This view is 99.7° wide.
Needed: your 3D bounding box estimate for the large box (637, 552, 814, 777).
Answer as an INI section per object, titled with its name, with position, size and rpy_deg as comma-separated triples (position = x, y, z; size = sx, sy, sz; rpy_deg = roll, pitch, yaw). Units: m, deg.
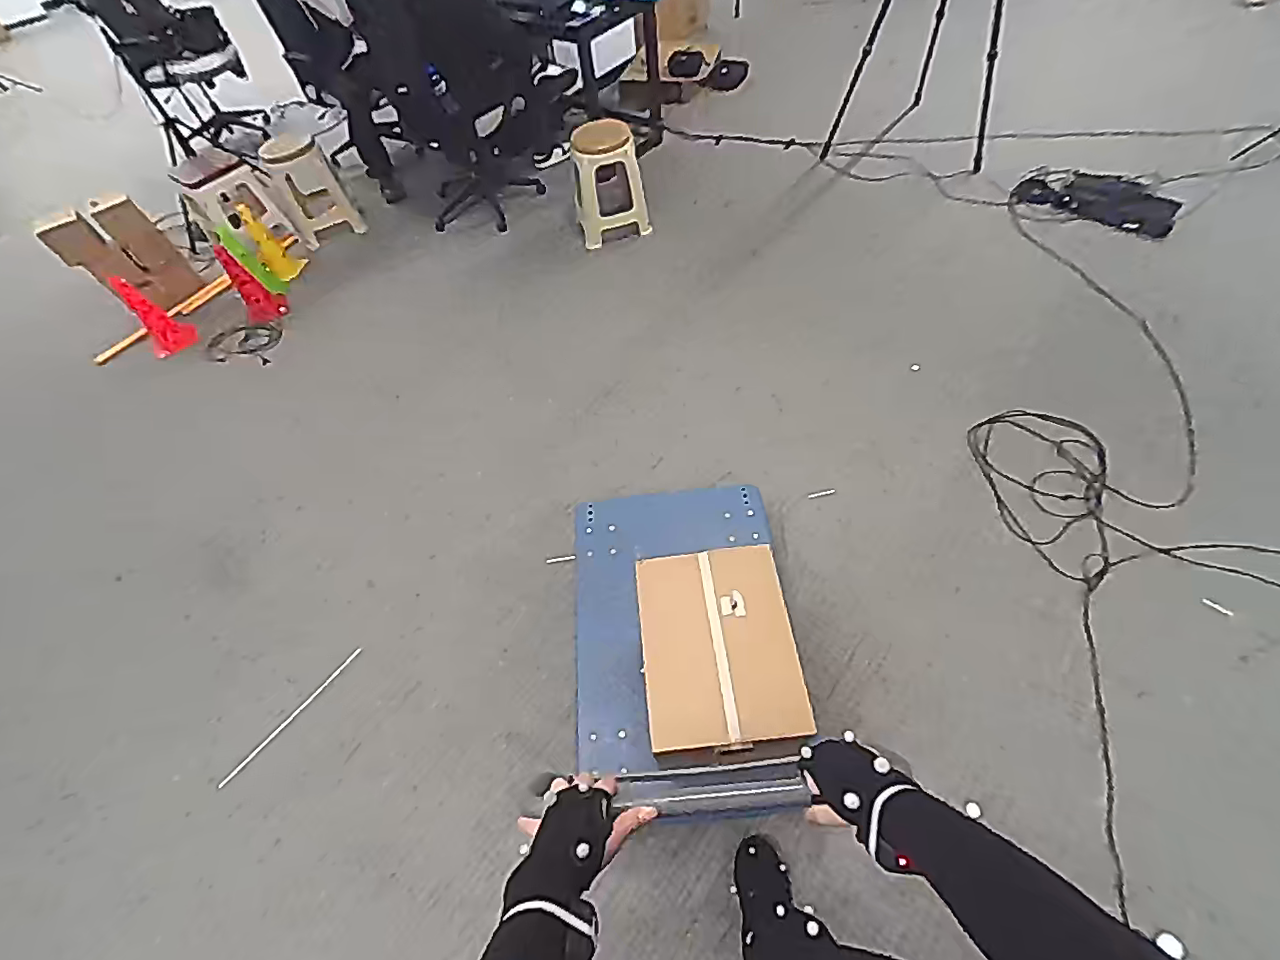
[large box]
position = 0.178, 0.432, 1.261
size = 0.320, 0.320, 0.408
rpy_deg = -7, 54, 1
